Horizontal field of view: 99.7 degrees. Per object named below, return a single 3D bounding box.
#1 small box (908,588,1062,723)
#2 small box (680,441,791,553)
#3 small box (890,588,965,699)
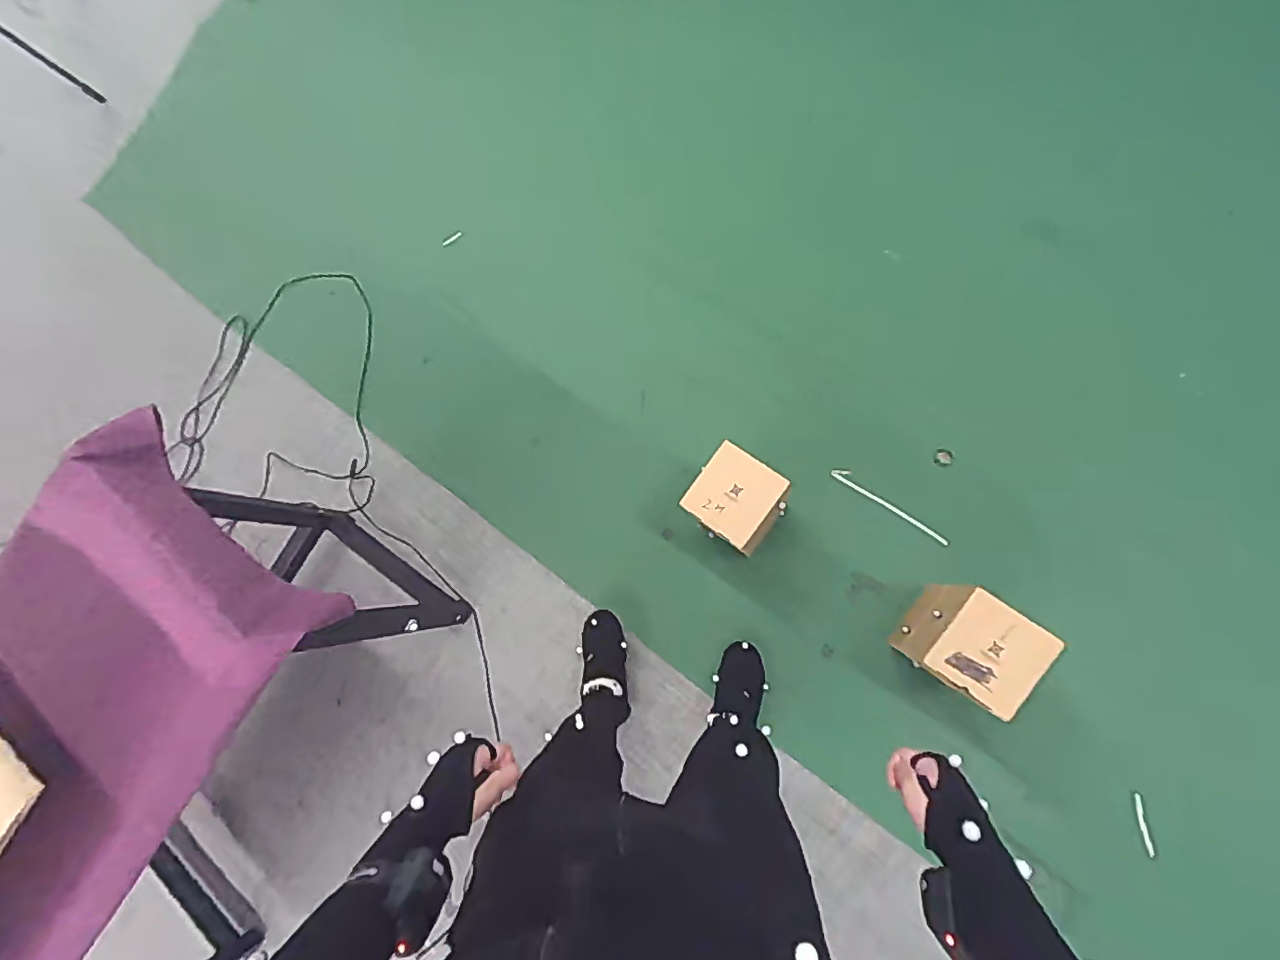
[{"bbox_3d":[0.648,0.327,1.046,0.168,0.176,0.179,37,90,16],"label":"small box"},{"bbox_3d":[0.214,0.045,1.204,0.168,0.176,0.179,37,90,18],"label":"small box"},{"bbox_3d":[0.686,0.355,1.203,0.168,0.176,0.179,36,90,17],"label":"small box"}]
